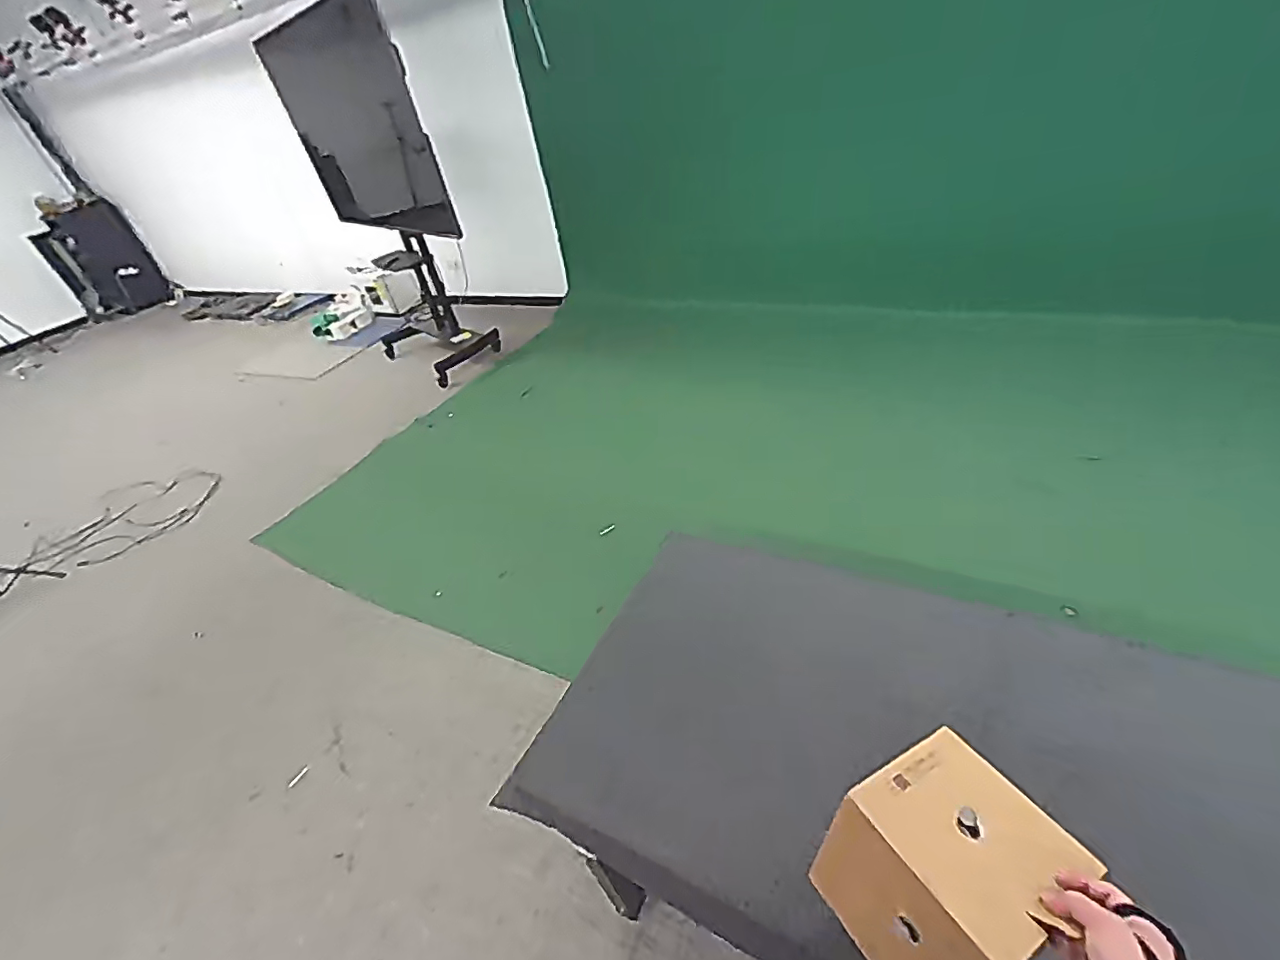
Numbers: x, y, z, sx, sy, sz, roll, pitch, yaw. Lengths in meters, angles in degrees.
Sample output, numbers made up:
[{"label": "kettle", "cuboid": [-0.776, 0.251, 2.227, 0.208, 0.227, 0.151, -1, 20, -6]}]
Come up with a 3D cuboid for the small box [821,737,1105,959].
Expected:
[{"label": "small box", "cuboid": [0.316, 0.402, 0.562, 0.168, 0.179, 0.176, -17, 37, -27]}]
